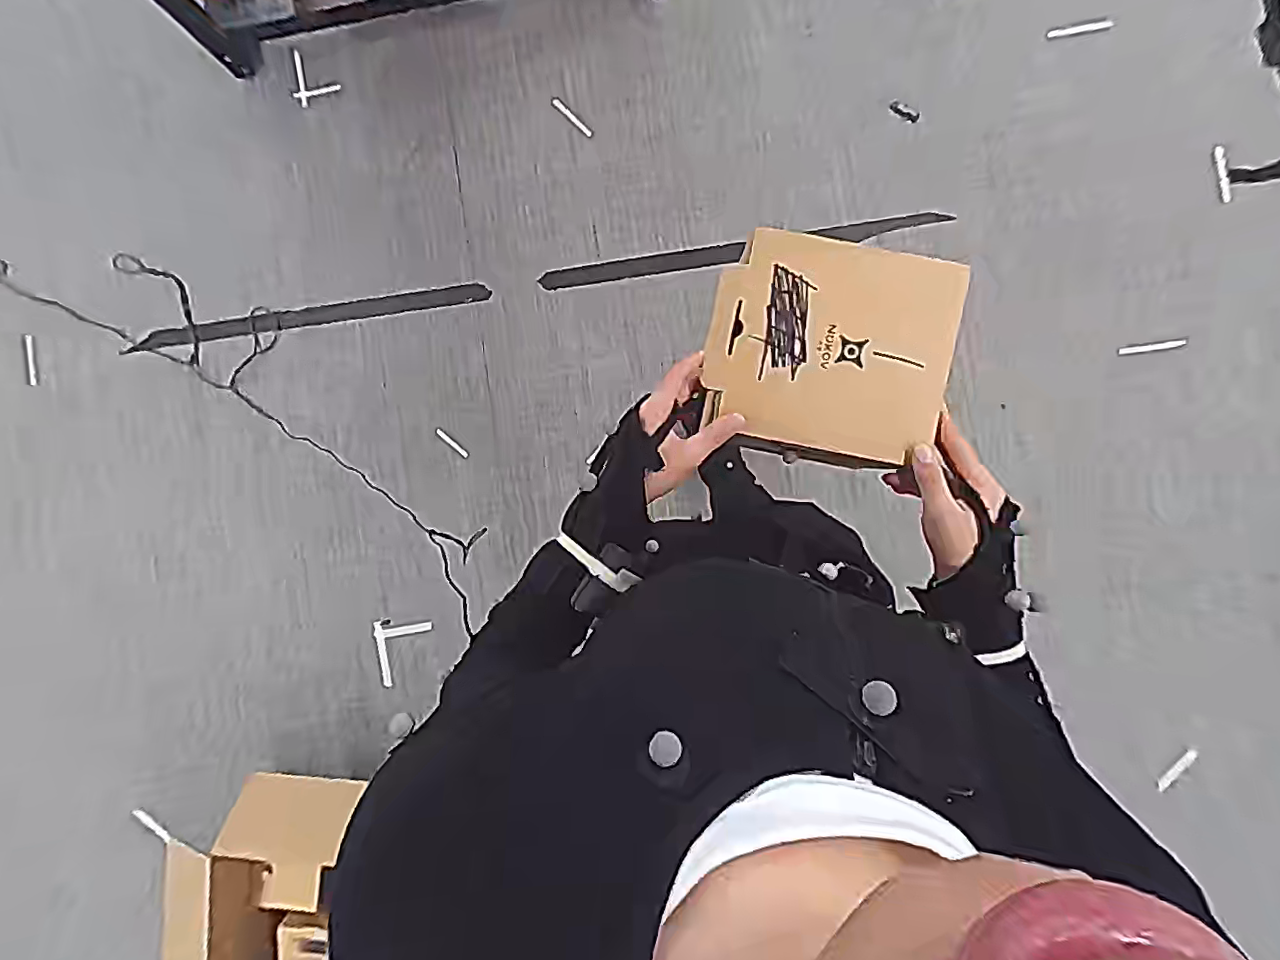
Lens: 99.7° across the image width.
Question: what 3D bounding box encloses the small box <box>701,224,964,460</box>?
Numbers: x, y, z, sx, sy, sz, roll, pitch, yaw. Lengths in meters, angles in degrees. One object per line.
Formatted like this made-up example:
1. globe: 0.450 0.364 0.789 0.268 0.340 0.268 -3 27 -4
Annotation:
1. small box: 0.159 -0.112 0.512 0.179 0.176 0.168 11 93 1
